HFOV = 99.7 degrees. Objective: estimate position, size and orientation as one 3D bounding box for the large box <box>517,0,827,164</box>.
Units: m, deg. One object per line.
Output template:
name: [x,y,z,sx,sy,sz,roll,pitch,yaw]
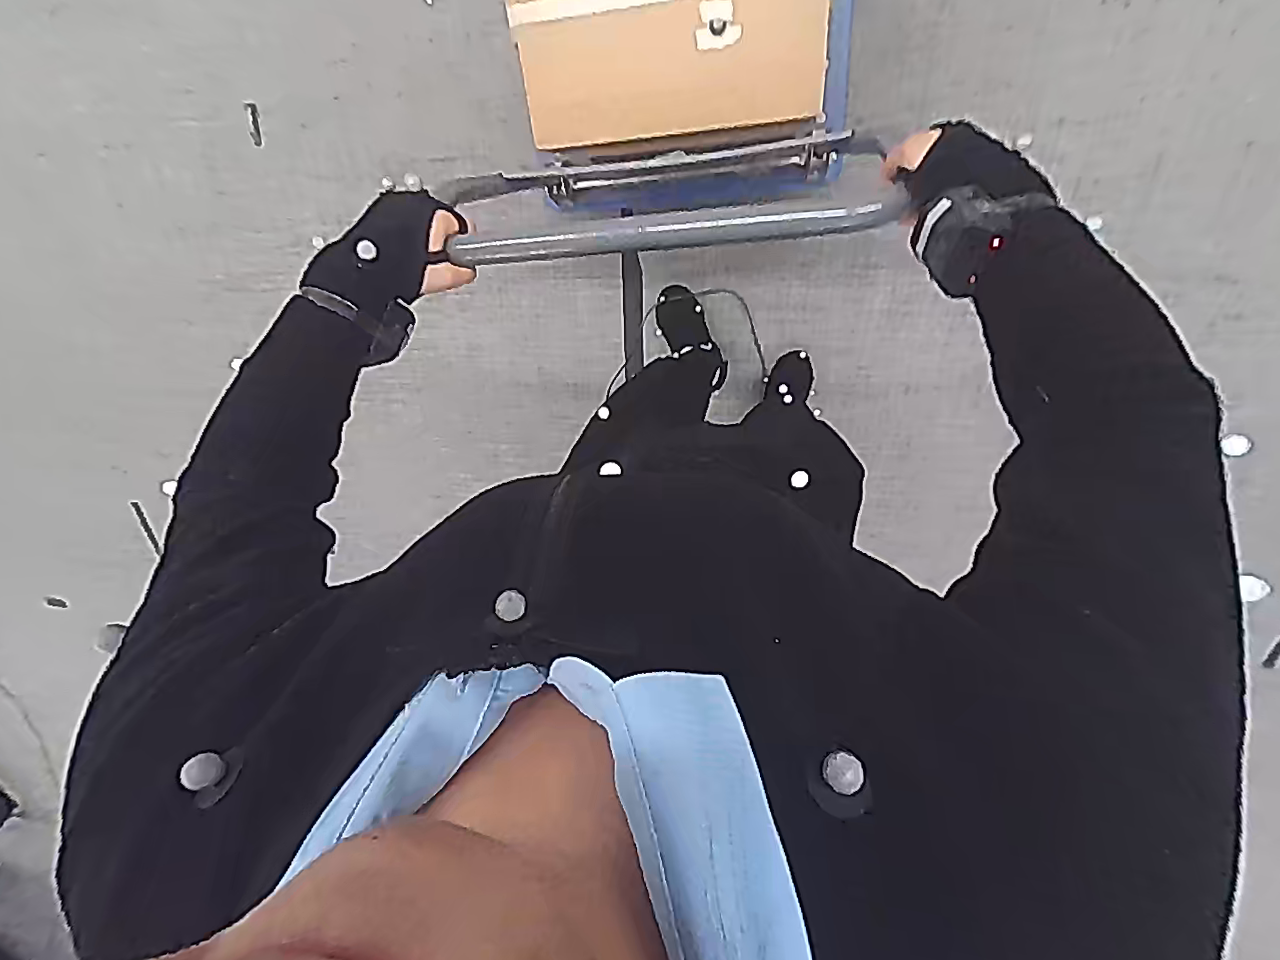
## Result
large box: [0.052,-0.688,0.823,0.408,0.320,0.320,-2,119,9]
